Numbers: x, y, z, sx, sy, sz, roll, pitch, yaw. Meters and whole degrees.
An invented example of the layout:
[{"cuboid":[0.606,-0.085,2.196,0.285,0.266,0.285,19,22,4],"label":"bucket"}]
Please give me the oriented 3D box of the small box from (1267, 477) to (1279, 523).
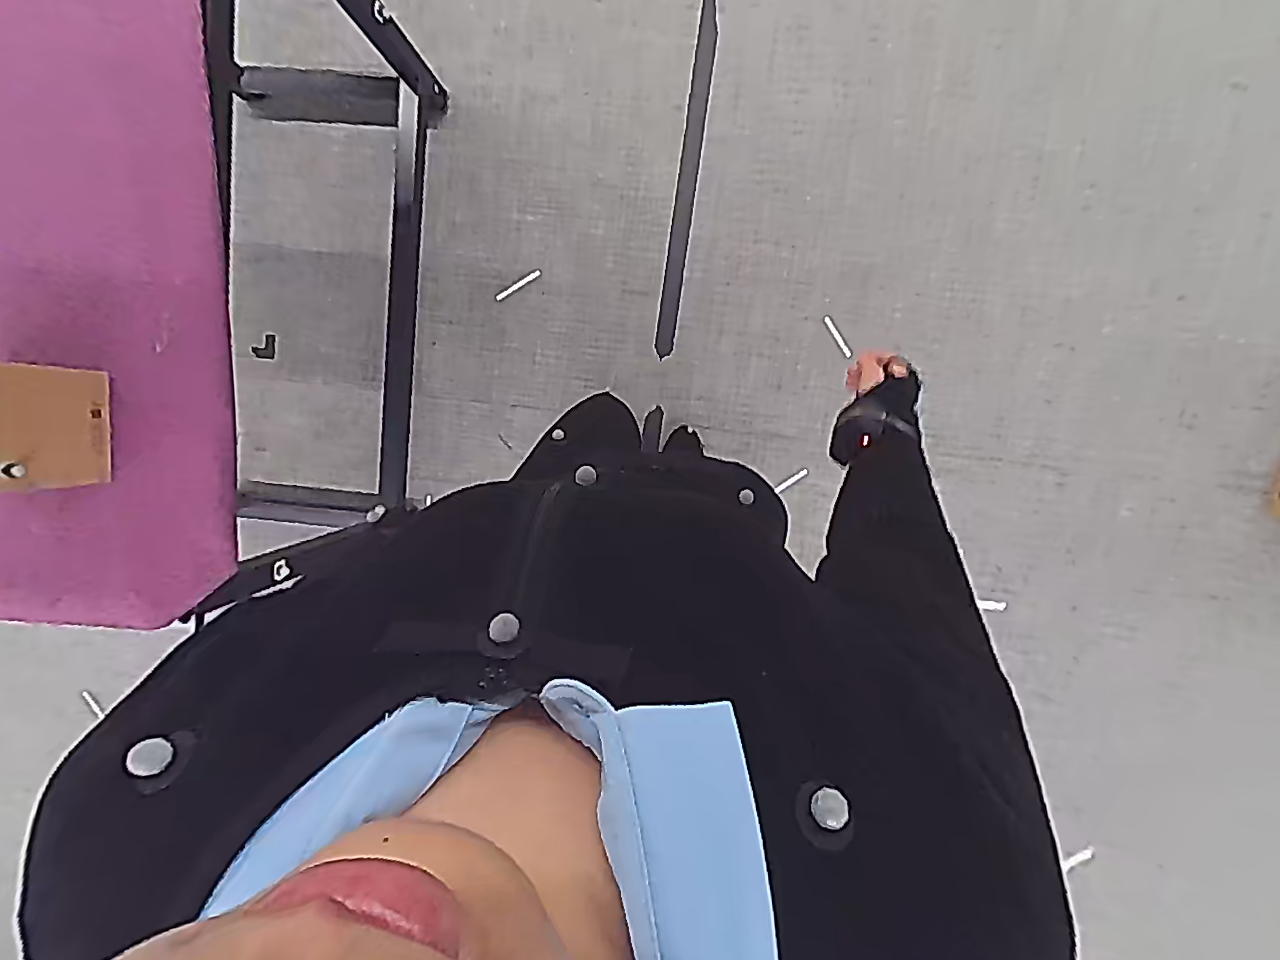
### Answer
[{"cuboid":[1.671,0.043,1.277,0.179,0.176,0.168,10,96,3],"label":"small box"}]
